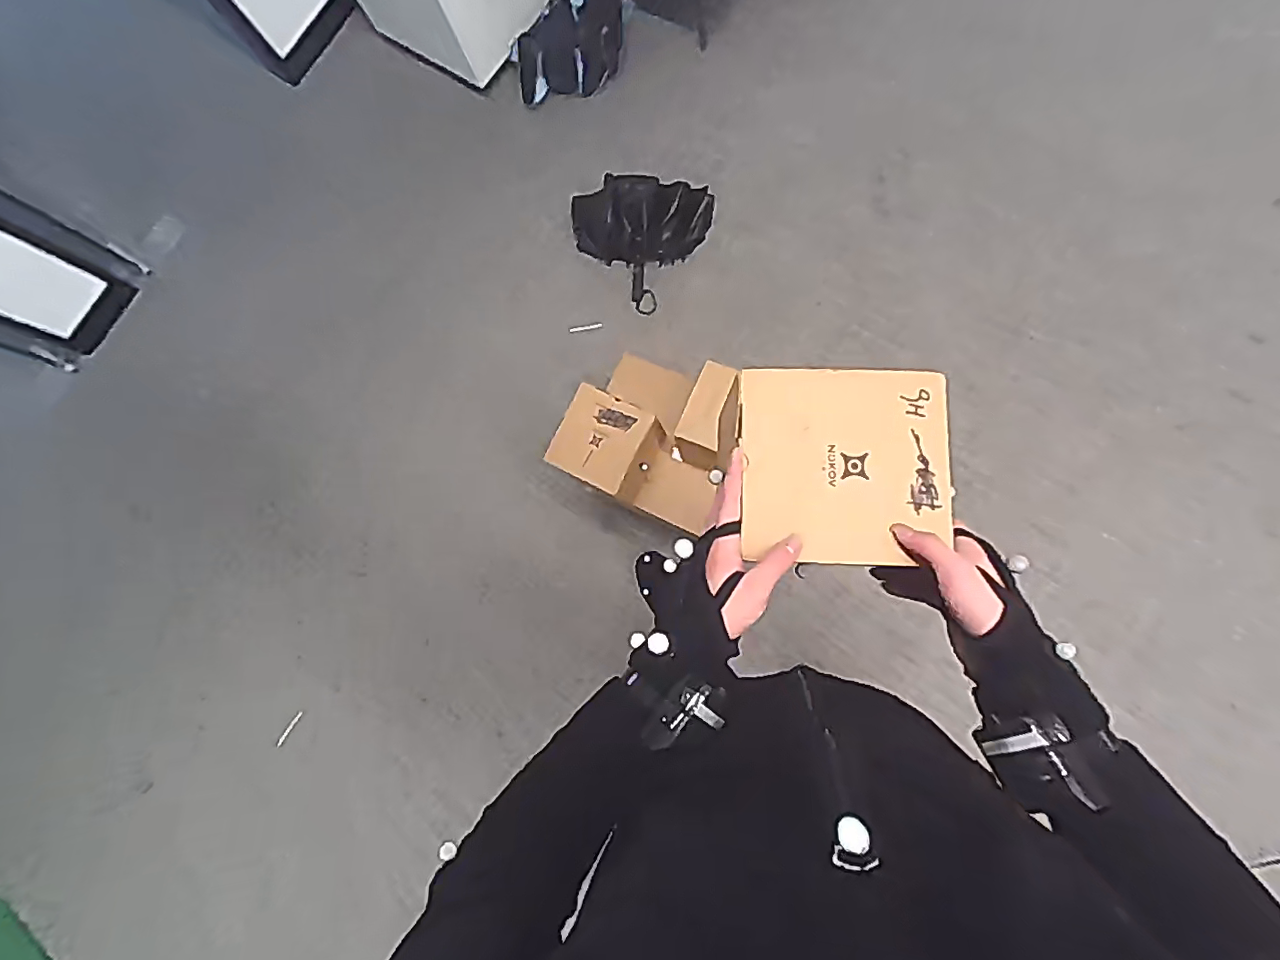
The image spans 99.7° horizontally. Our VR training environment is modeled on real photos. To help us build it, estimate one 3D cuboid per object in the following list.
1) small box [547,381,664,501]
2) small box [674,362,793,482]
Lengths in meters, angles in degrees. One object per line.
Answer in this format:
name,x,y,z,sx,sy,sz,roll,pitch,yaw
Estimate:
small box,-0.060,-0.073,1.118,0.168,0.176,0.179,27,88,13
small box,0.186,-0.107,1.085,0.179,0.176,0.168,22,80,14
